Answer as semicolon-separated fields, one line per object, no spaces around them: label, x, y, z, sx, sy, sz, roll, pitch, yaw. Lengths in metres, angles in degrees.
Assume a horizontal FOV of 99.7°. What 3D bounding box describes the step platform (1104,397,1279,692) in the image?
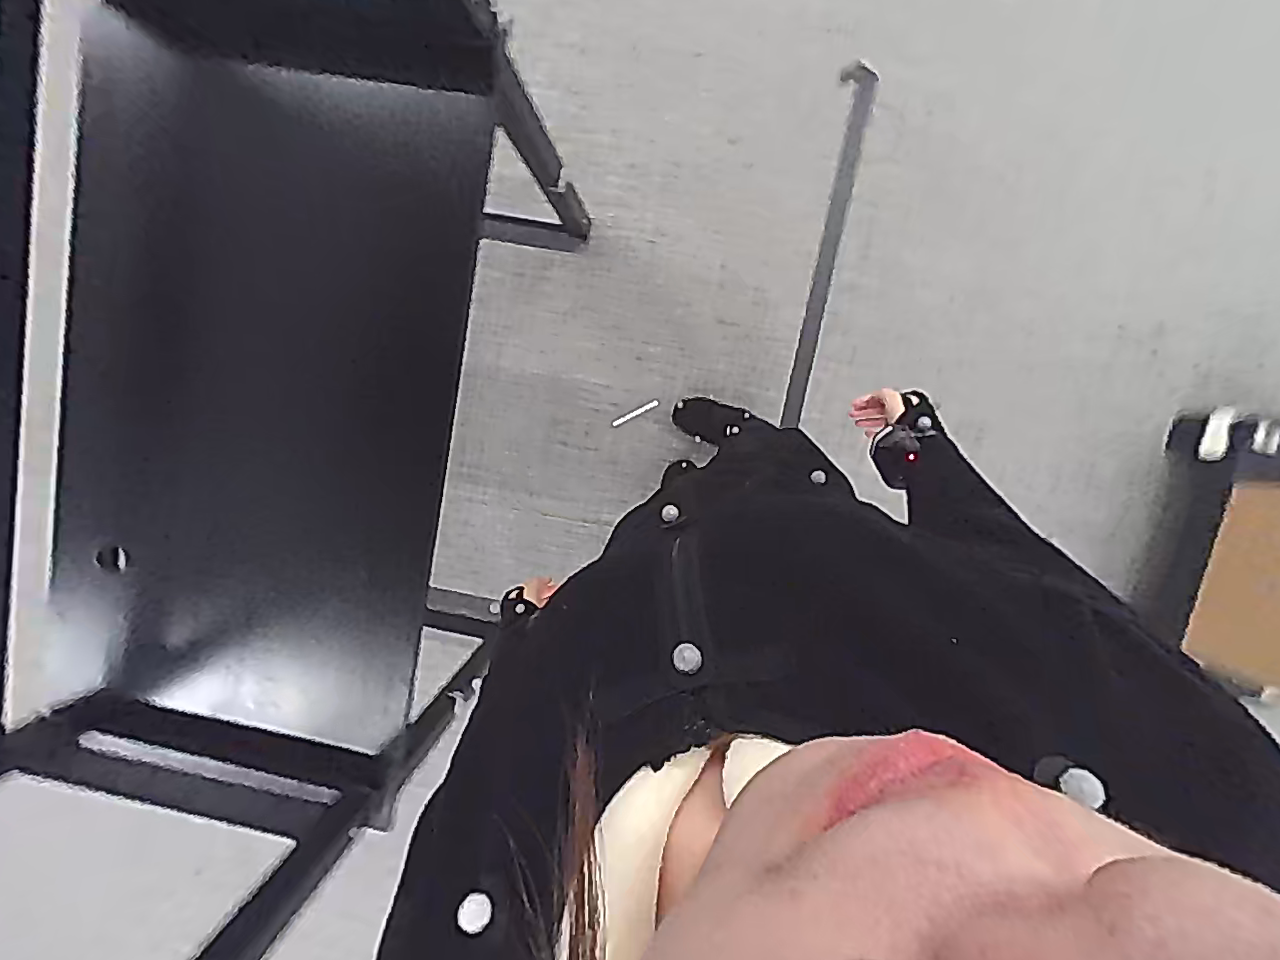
step platform;1.443;0.150;1.305;0.286;0.204;0.684;16;96;3

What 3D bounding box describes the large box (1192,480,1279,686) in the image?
large box;1.433;0.230;1.074;0.320;0.320;0.408;10;96;3
